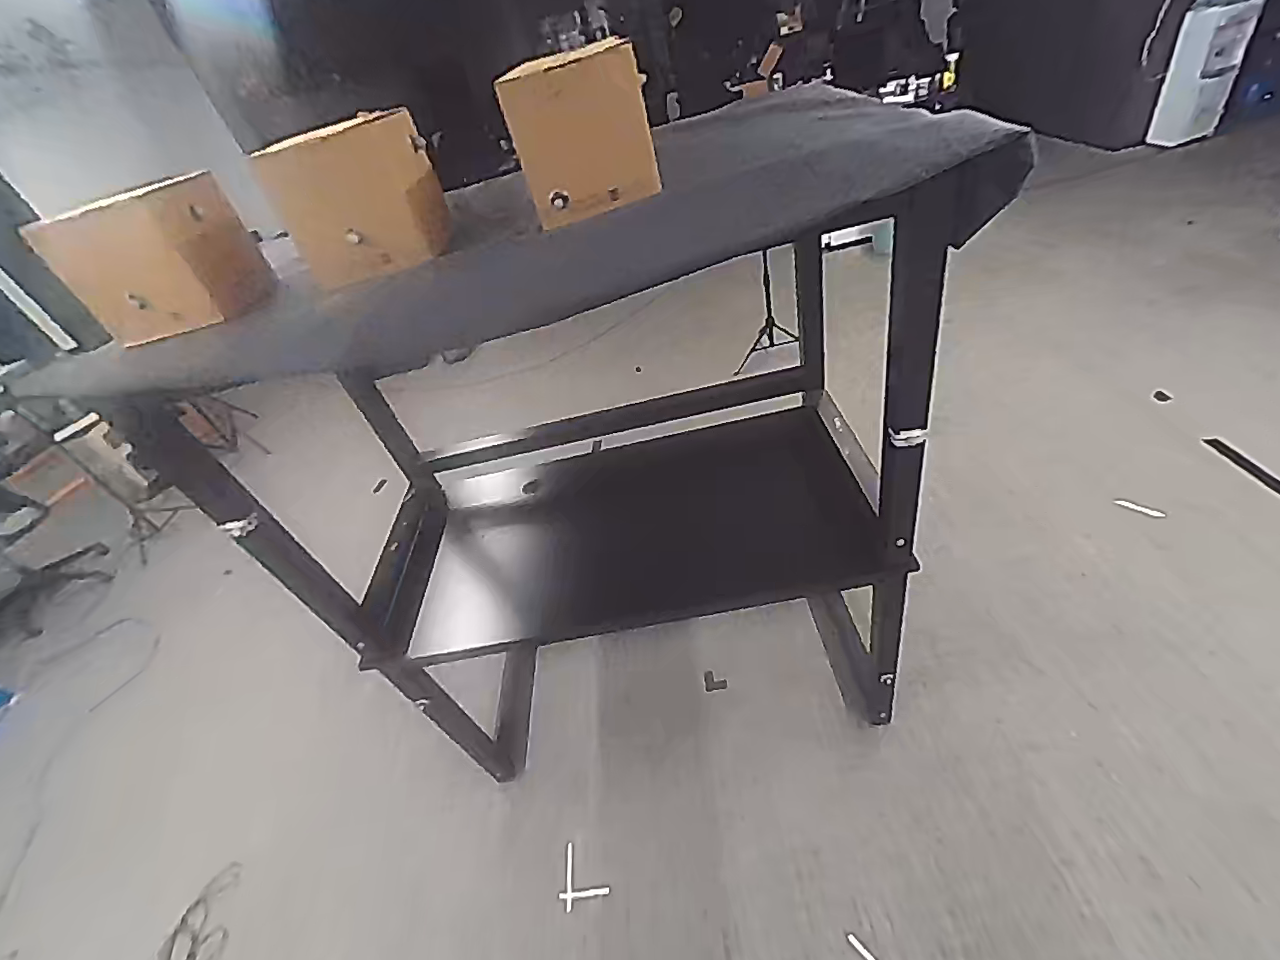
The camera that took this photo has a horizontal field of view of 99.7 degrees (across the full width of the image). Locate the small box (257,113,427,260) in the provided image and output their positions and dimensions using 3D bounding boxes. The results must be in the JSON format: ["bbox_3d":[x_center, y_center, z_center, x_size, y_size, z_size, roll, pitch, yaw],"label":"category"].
[{"bbox_3d":[-0.498,-0.508,0.939,0.179,0.176,0.168,-14,40,4],"label":"small box"}]

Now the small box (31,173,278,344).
[{"bbox_3d":[-0.673,-0.320,0.784,0.168,0.176,0.179,-13,39,4],"label":"small box"}]

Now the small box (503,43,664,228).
[{"bbox_3d":[-0.069,-0.461,0.732,0.168,0.176,0.179,-13,39,5],"label":"small box"}]
